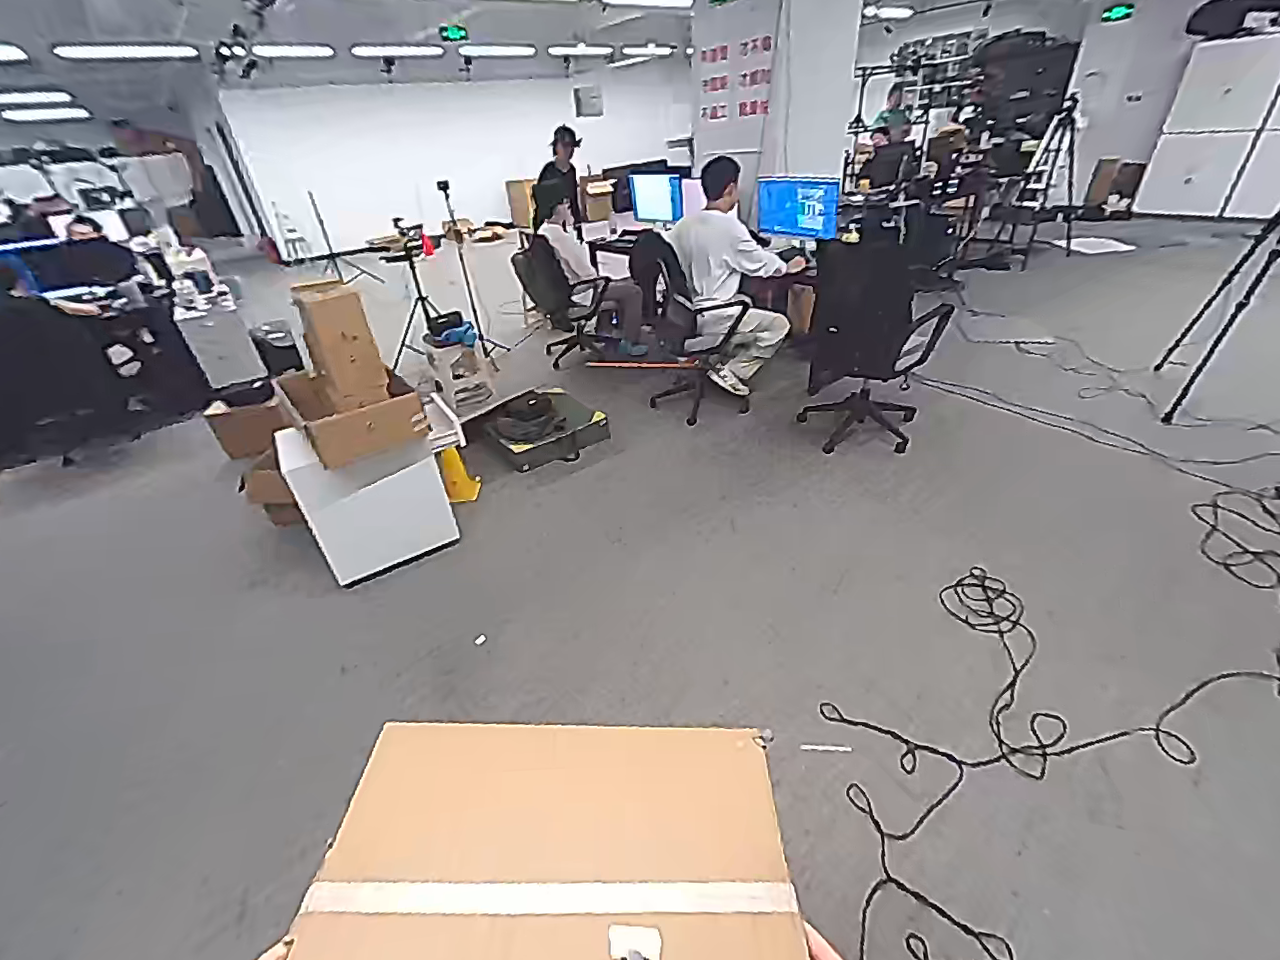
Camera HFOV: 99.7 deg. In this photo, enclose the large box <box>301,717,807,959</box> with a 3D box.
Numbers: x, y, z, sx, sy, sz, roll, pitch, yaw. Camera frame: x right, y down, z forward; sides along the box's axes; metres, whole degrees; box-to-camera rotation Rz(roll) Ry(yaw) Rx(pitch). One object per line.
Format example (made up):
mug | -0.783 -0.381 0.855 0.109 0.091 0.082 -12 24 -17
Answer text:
large box | -0.075 0.473 0.549 0.408 0.320 0.320 3 34 -2
